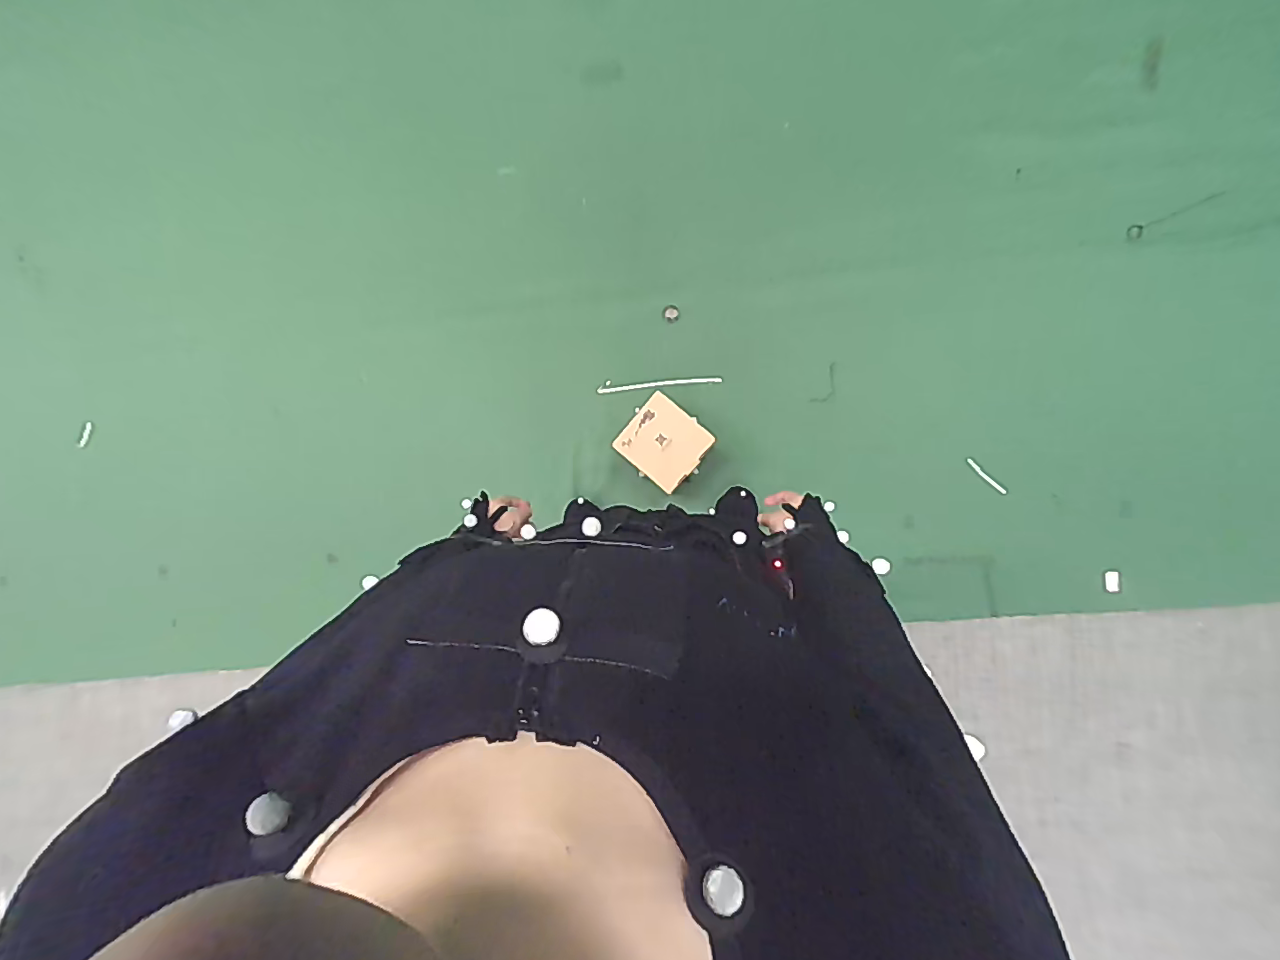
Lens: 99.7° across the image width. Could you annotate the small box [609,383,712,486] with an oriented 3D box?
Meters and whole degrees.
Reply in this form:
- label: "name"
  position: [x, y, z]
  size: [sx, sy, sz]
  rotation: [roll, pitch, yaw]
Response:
- label: "small box"
  position: [0.051, -0.106, 1.282]
  size: [0.179, 0.176, 0.168]
  rotation: [41, 93, 2]
